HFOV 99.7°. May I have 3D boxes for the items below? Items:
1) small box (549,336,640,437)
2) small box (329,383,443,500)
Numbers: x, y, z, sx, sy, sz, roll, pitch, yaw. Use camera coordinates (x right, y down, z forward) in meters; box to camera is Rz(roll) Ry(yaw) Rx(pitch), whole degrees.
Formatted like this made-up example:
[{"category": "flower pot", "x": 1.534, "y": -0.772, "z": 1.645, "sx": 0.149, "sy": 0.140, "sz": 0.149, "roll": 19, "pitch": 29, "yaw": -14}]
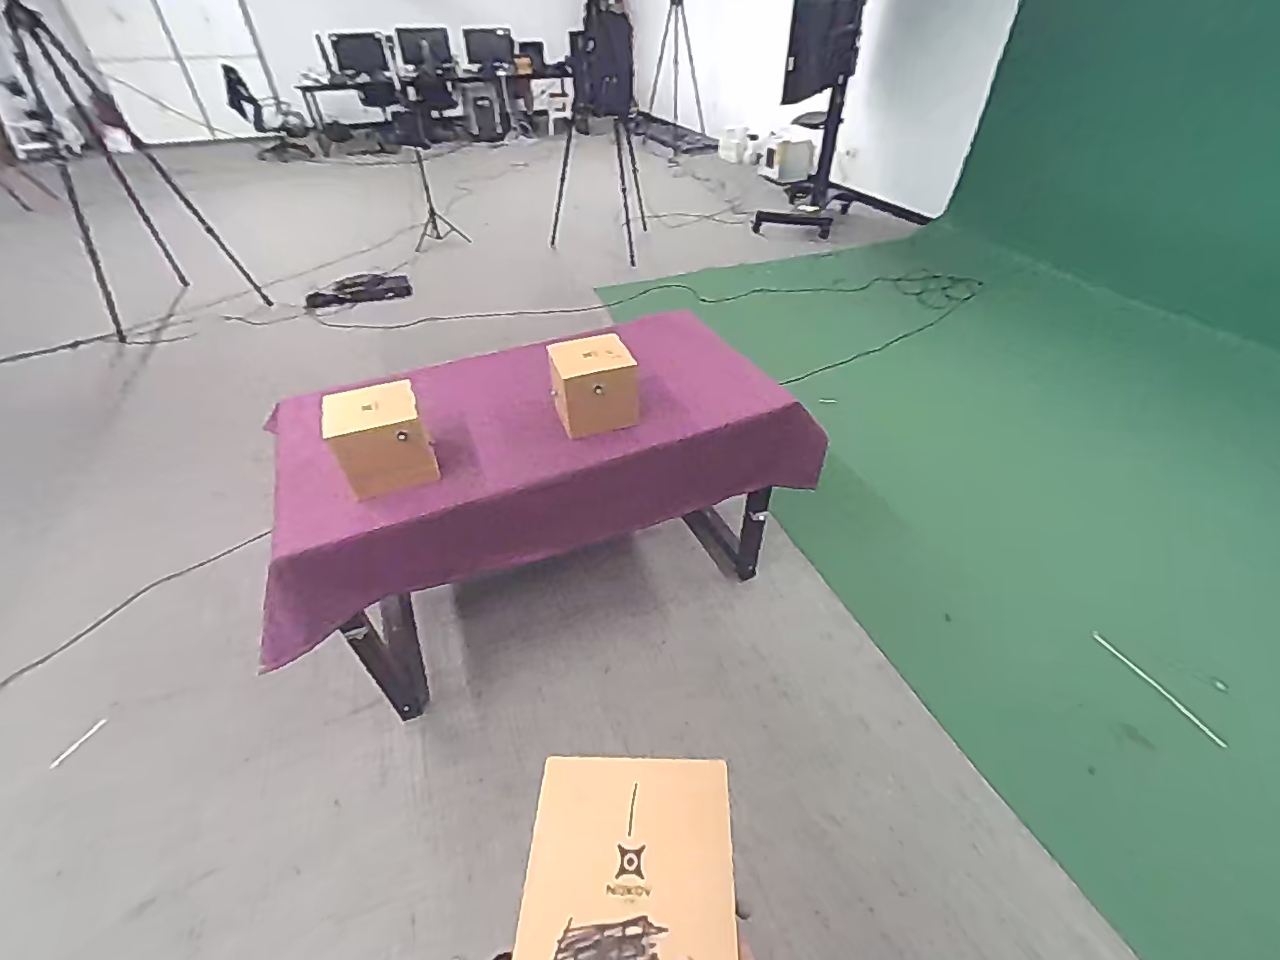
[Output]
[{"category": "small box", "x": -0.107, "y": -0.222, "z": 1.299, "sx": 0.179, "sy": 0.176, "sz": 0.168, "roll": -14, "pitch": 44, "yaw": -13}, {"category": "small box", "x": -0.541, "y": -0.080, "z": 1.160, "sx": 0.179, "sy": 0.176, "sz": 0.168, "roll": -16, "pitch": 43, "yaw": -17}]
